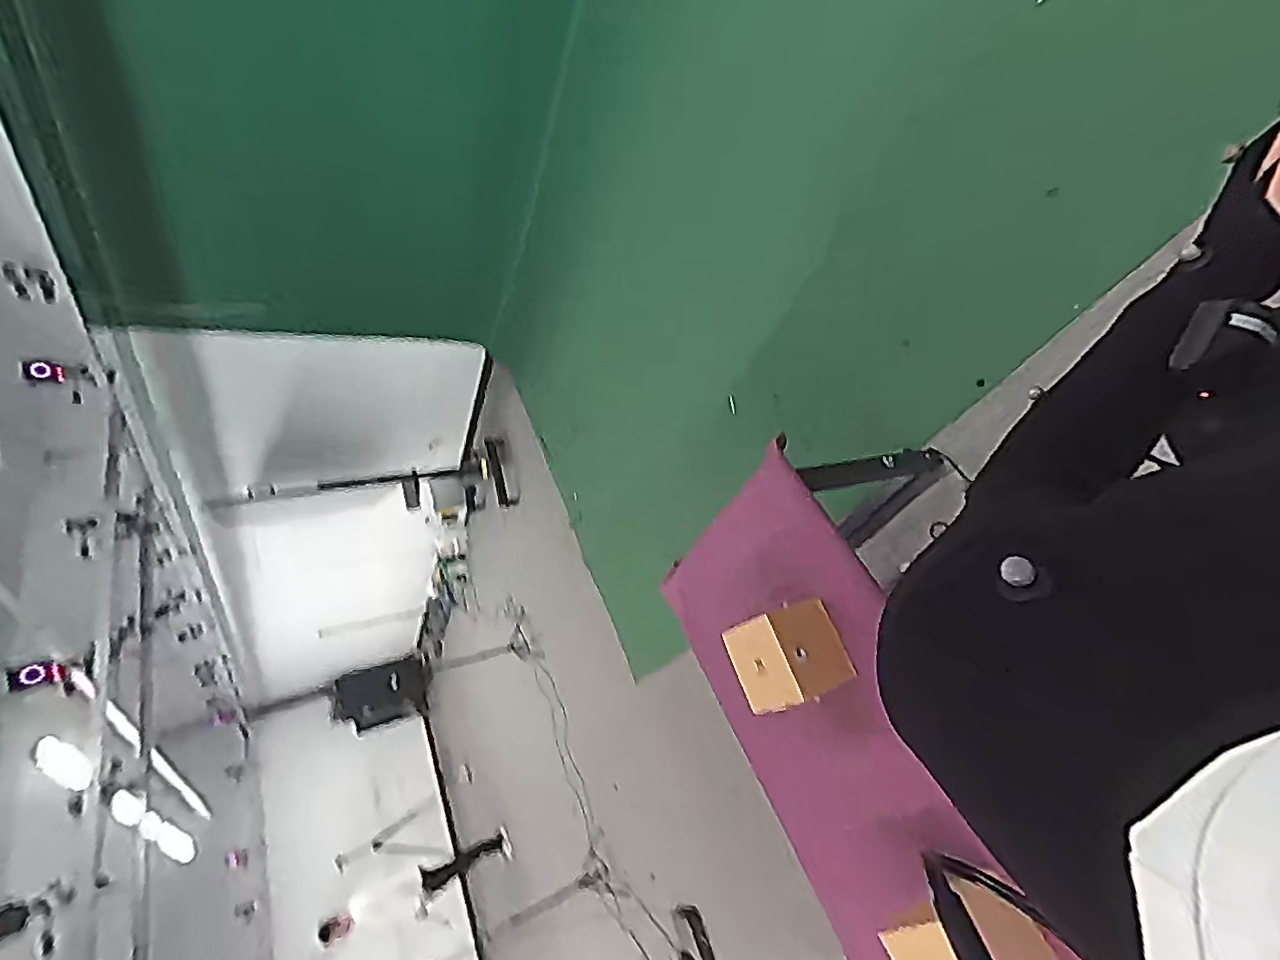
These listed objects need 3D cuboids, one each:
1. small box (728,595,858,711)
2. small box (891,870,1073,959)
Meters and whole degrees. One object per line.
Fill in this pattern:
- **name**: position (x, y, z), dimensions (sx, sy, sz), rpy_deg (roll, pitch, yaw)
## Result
- **small box**: position (0.328, 0.369, 1.159), dimensions (0.168, 0.176, 0.179), rpy_deg (-48, 58, 50)
- **small box**: position (0.567, 0.780, 0.890), dimensions (0.179, 0.176, 0.168), rpy_deg (57, 140, 31)
